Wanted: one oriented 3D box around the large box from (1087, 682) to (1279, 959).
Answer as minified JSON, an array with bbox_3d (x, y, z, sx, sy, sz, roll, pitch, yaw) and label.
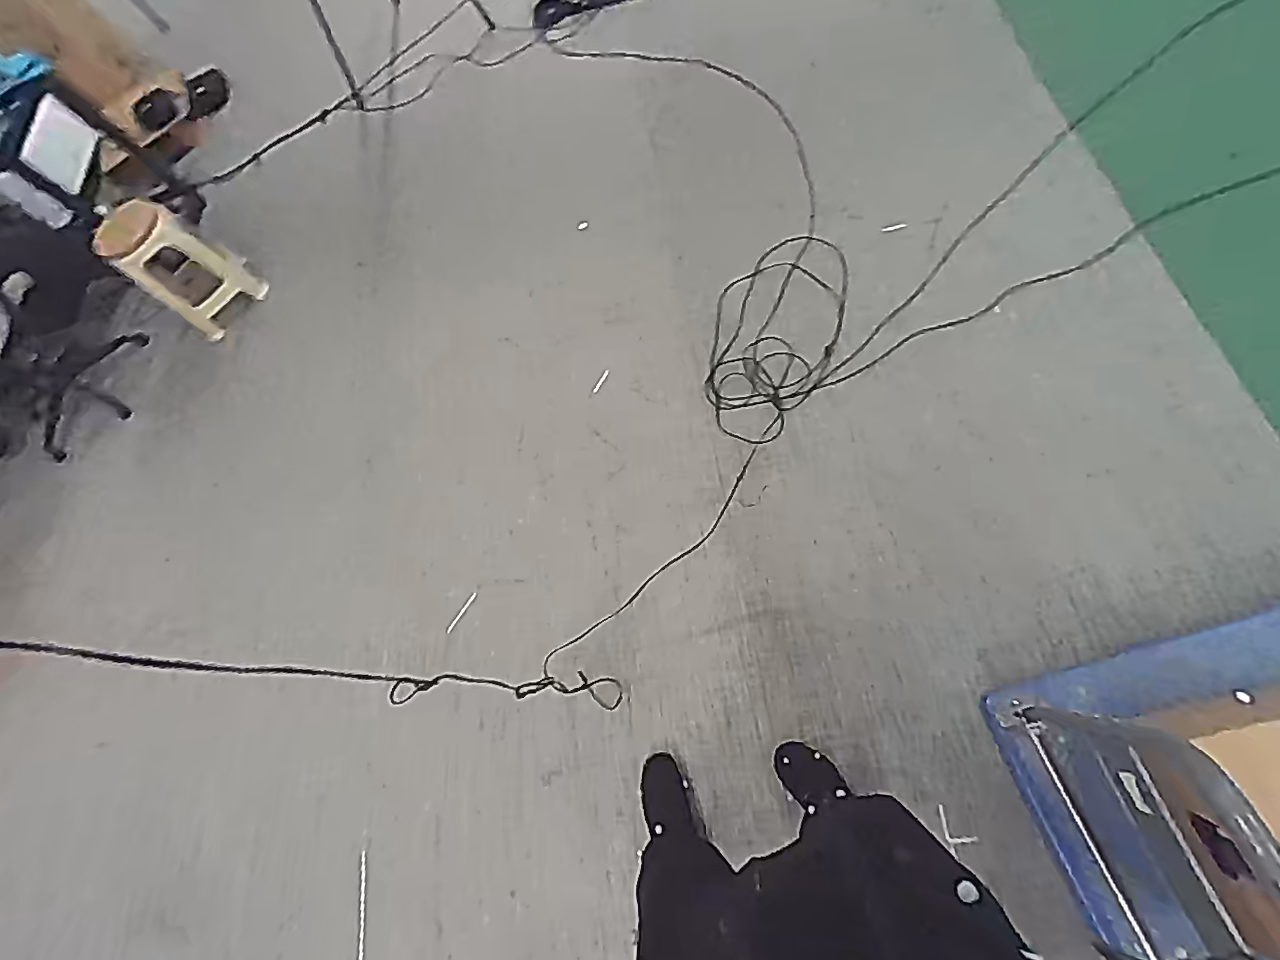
[{"bbox_3d":[1.063,0.512,0.851,0.408,0.320,0.320,-18,66,8],"label":"large box"}]
